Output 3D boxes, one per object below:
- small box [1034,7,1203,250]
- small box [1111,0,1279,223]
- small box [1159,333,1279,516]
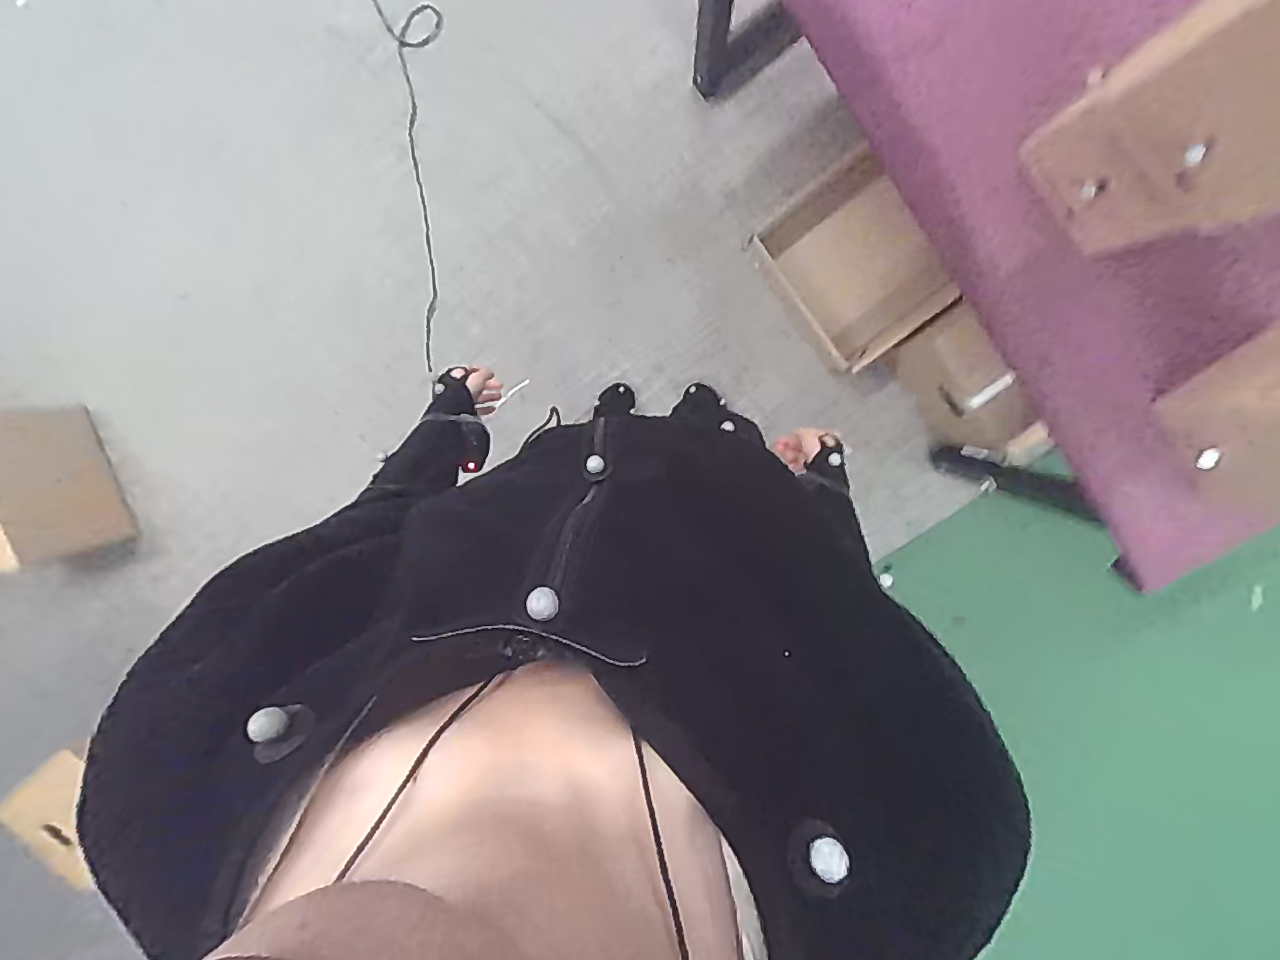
[{"bbox_3d":[0.580,-0.384,0.588,0.179,0.176,0.168,-39,96,9],"label":"small box"},{"bbox_3d":[0.550,-0.346,0.428,0.168,0.176,0.179,44,99,-4],"label":"small box"},{"bbox_3d":[0.791,-0.068,0.634,0.179,0.176,0.168,-35,96,8],"label":"small box"}]
